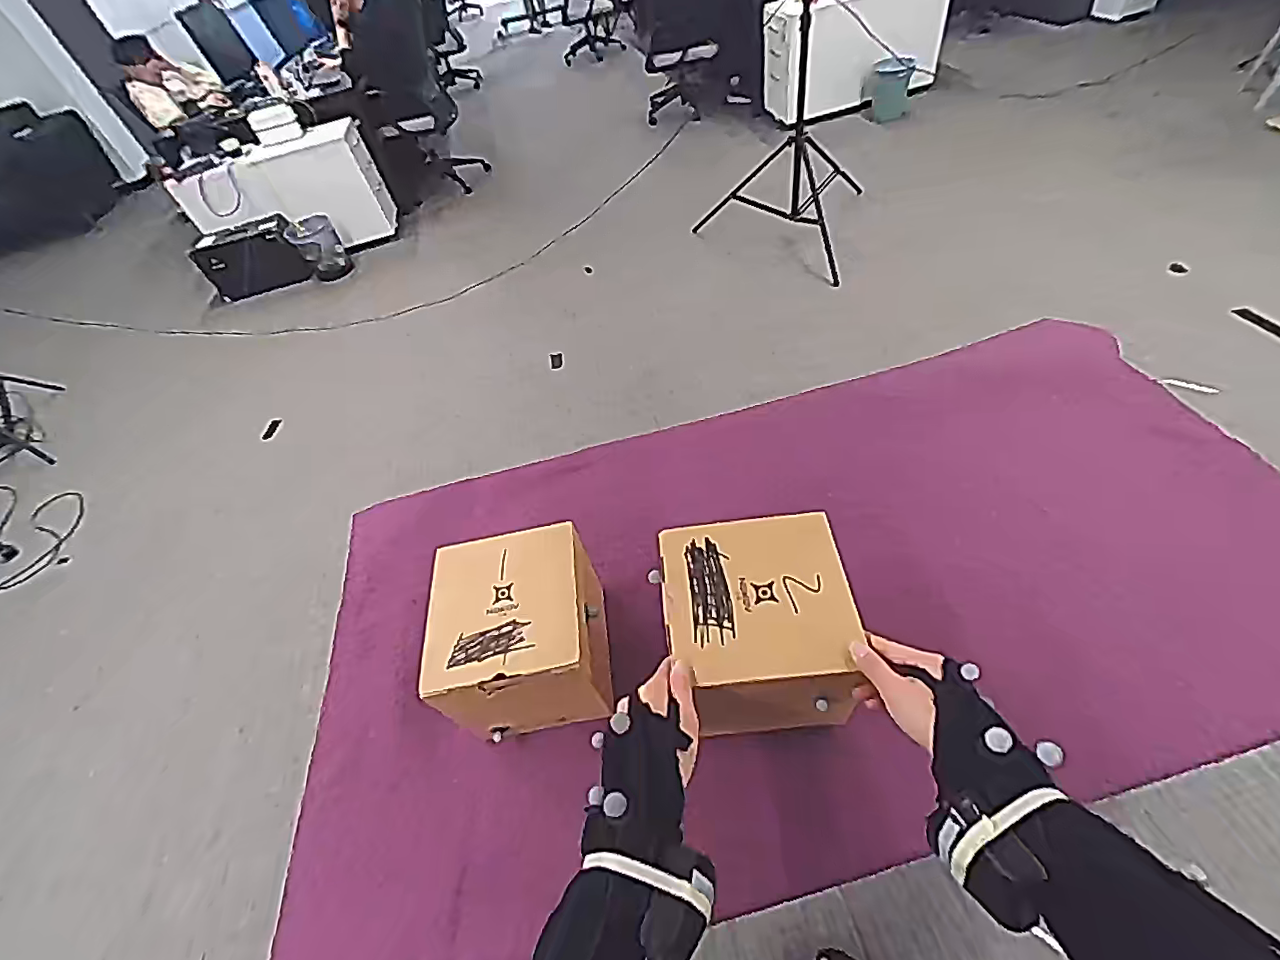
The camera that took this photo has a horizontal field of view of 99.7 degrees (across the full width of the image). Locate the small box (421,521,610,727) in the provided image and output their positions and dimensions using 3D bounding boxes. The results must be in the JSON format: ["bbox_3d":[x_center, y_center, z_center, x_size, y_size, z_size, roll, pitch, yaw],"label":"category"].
[{"bbox_3d":[-0.136,0.178,0.644,0.168,0.176,0.179,-12,49,2],"label":"small box"}]
